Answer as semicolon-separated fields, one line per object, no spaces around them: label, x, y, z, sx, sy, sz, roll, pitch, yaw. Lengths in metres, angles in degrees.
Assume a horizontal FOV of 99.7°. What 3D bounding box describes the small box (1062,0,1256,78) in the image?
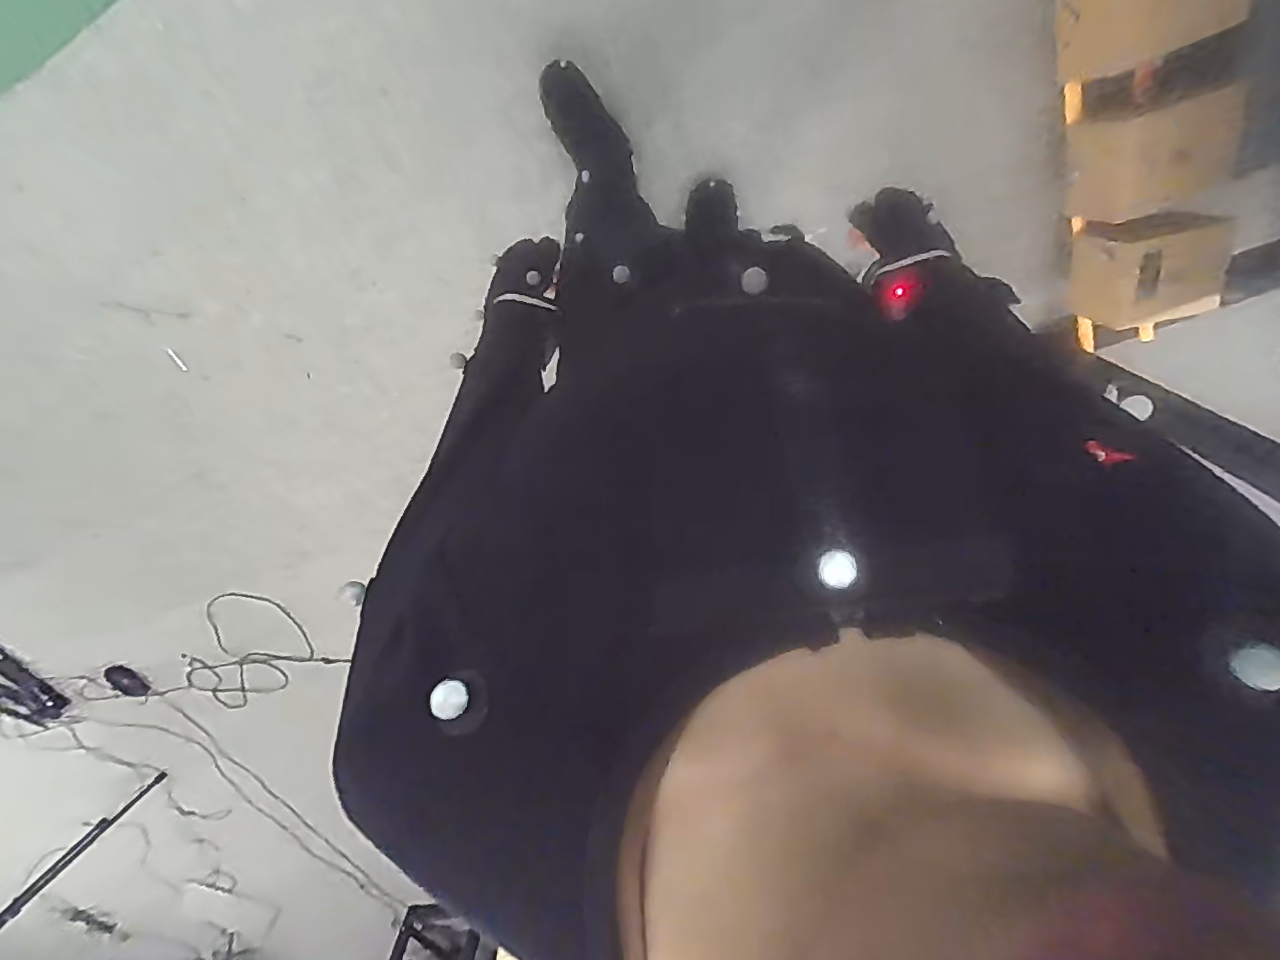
small box;0.824;-0.781;0.868;0.179;0.176;0.168;-17;119;17
